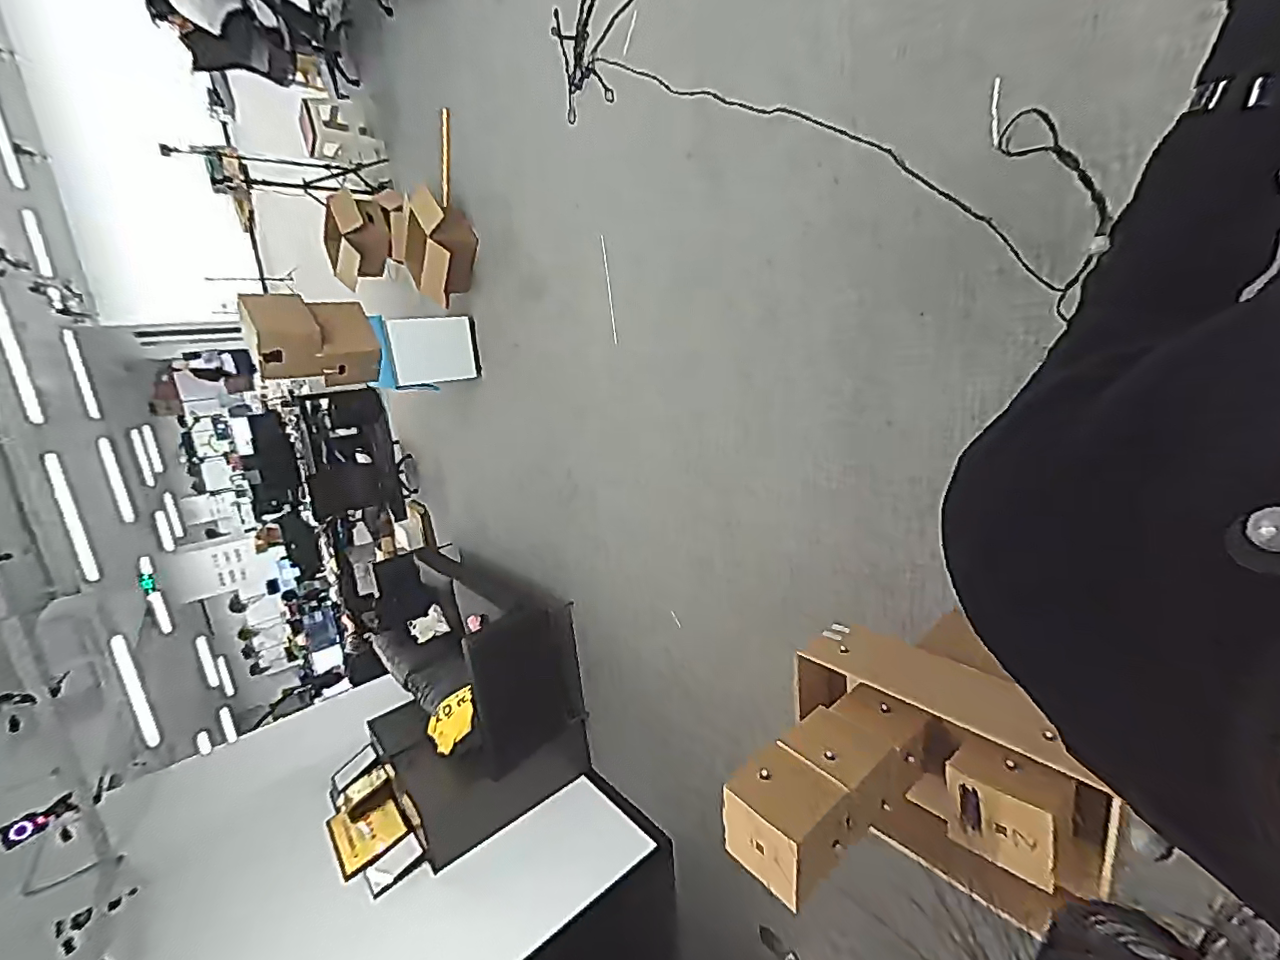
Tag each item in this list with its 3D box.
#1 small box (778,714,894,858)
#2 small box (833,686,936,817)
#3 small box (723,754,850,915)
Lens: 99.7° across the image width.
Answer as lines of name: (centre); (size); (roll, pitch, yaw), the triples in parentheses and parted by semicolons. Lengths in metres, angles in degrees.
small box: (0.415, 0.636, 1.151); (0.179, 0.176, 0.168); (17, 115, 50)
small box: (0.552, 0.607, 1.237); (0.168, 0.176, 0.179); (19, 117, 49)
small box: (0.284, 0.677, 1.062); (0.179, 0.176, 0.168); (16, 115, 49)
